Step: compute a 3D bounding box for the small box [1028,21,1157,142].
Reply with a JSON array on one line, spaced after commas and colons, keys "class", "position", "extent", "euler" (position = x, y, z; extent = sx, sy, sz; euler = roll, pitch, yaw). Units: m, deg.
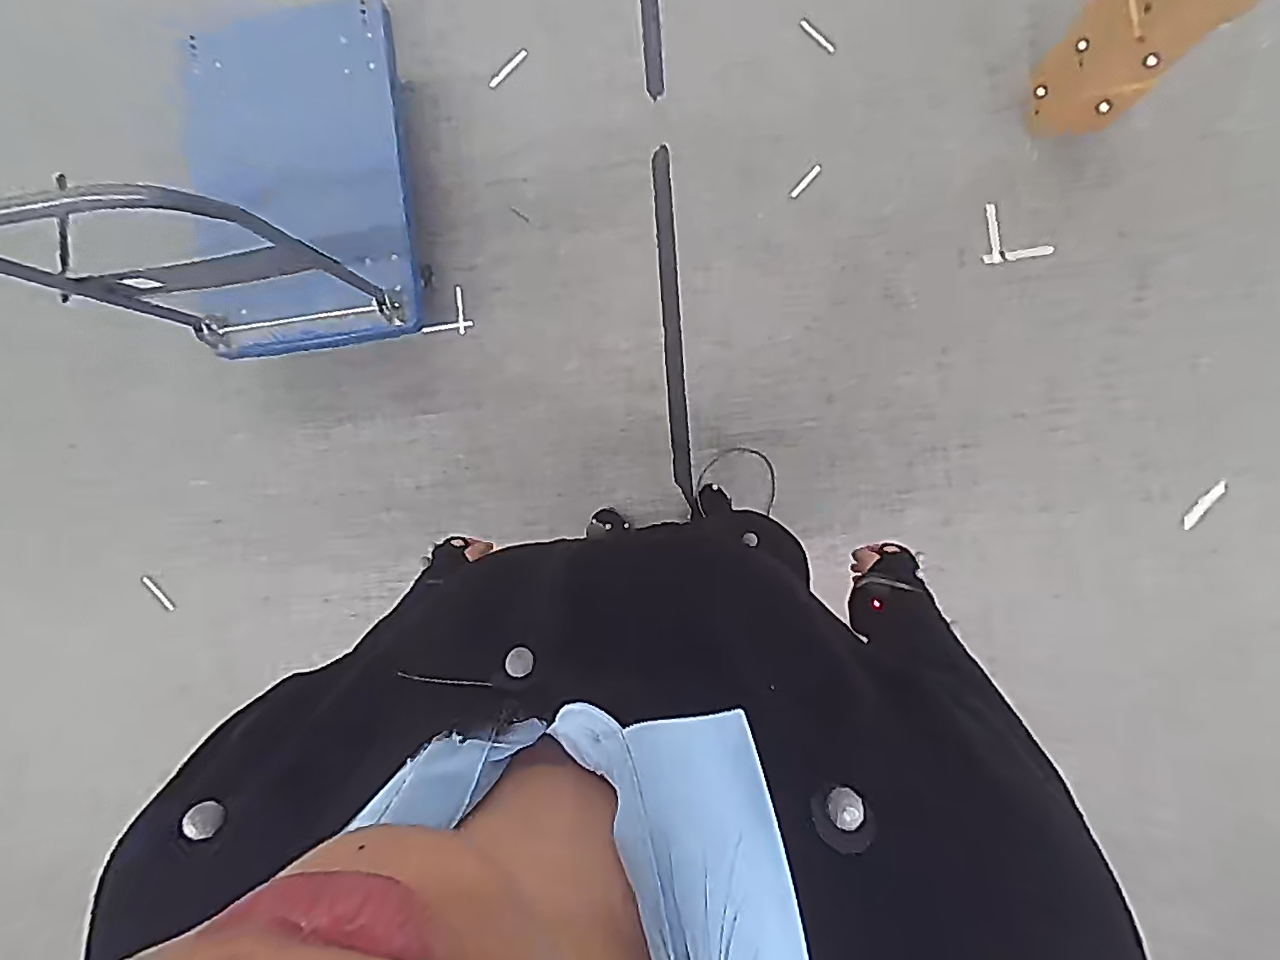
[{"class": "small box", "position": [1.107, -0.974, 1.335], "extent": [0.179, 0.176, 0.168], "euler": [-7, 89, 6]}]

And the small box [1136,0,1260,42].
[{"class": "small box", "position": [1.084, -0.974, 1.006], "extent": [0.179, 0.176, 0.168], "euler": [-10, 88, 6]}]
